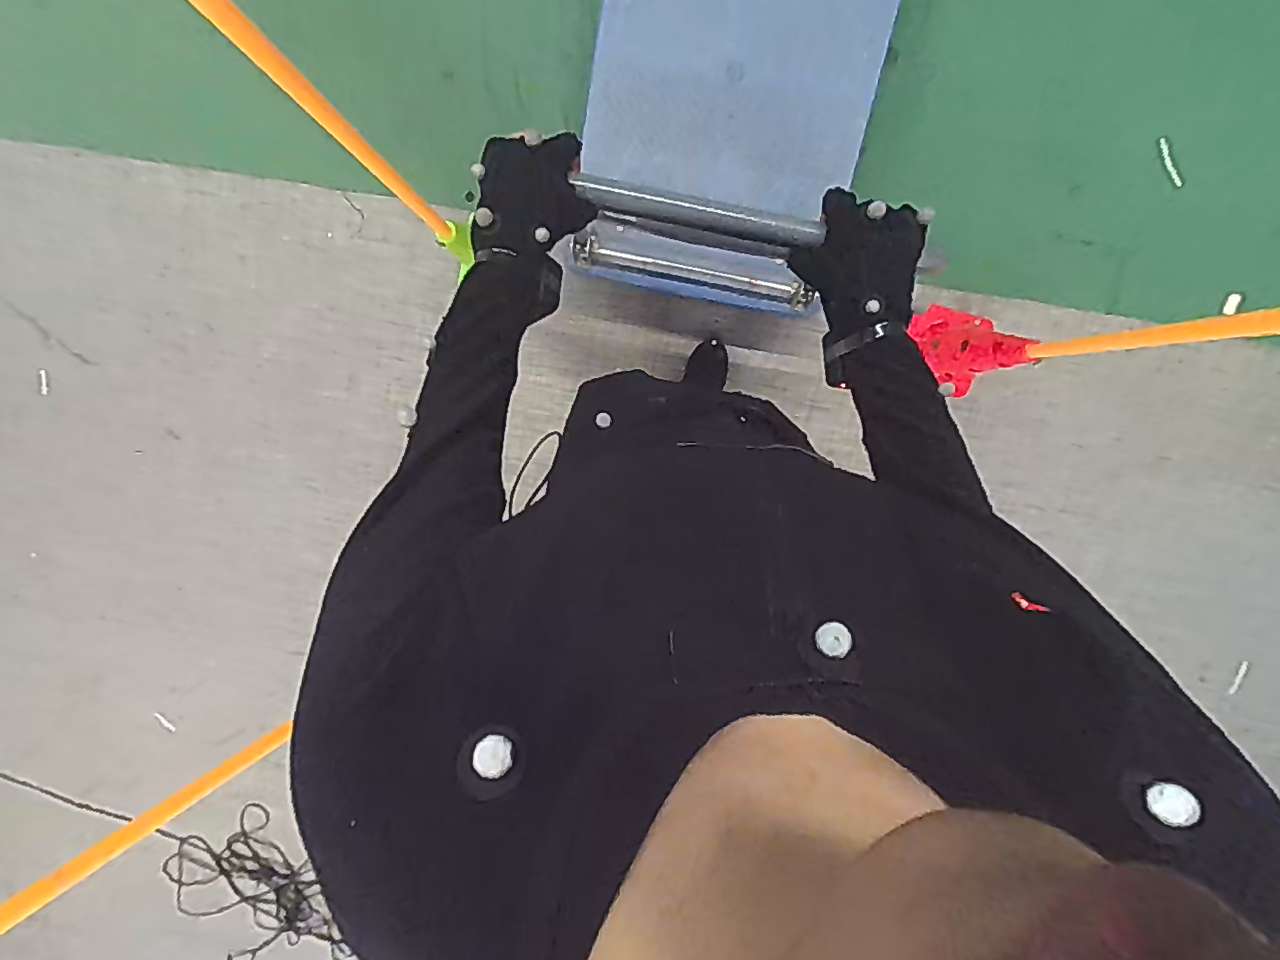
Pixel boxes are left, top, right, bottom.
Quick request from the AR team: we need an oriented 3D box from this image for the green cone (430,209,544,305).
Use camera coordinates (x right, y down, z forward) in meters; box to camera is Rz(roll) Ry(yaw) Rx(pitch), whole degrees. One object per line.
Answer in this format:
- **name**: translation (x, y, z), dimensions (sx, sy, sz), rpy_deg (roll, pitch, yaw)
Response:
- **green cone**: translation (-0.365, -0.527, 1.202), dimensions (0.202, 0.368, 0.200), rpy_deg (15, 103, 1)
